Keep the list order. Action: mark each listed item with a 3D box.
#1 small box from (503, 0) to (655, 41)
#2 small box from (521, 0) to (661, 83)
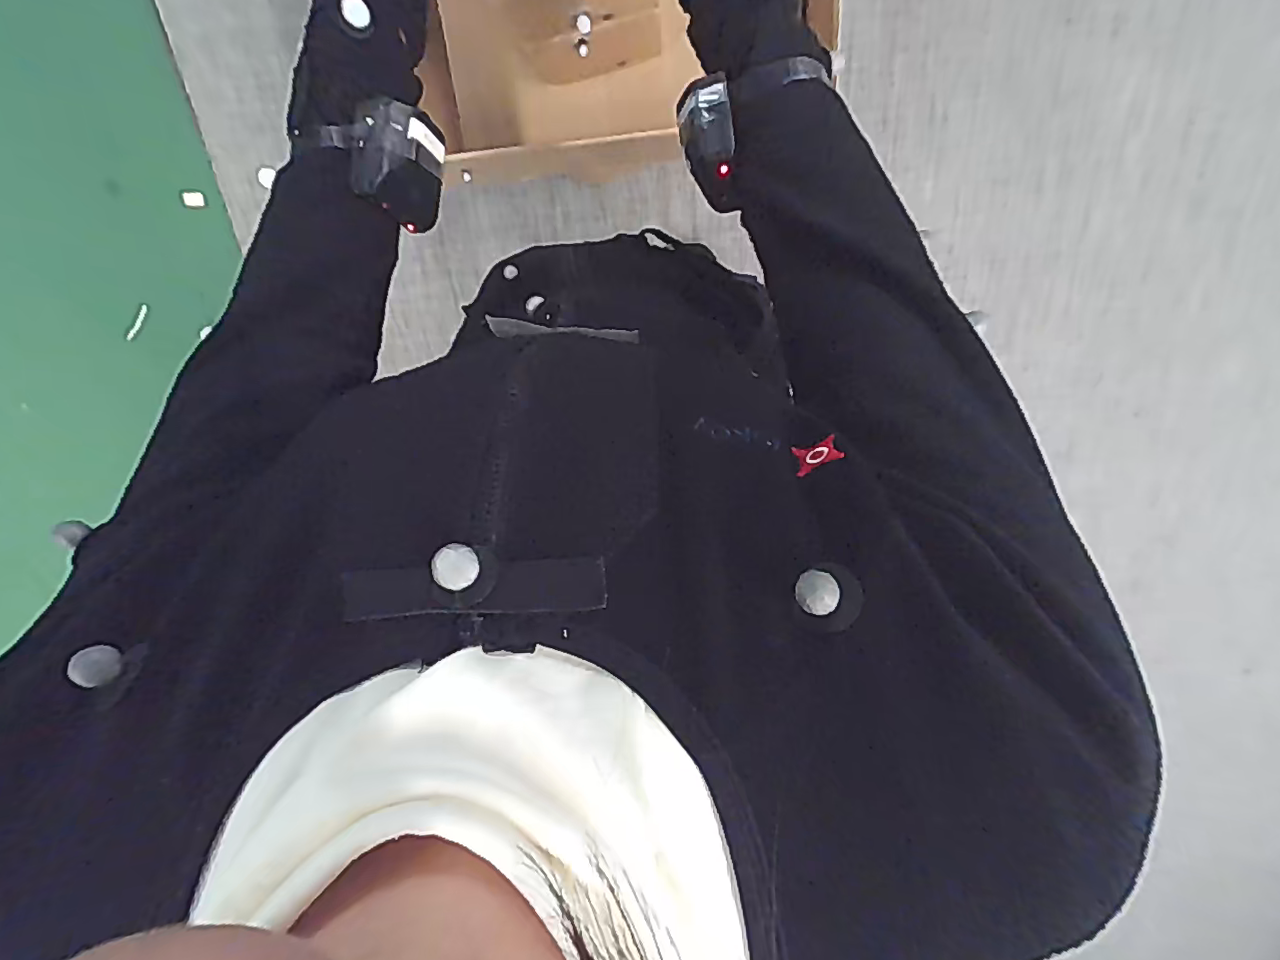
[{"bbox_3d":[-0.079,-0.577,0.526,0.168,0.176,0.179,-9,114,8],"label":"small box"},{"bbox_3d":[-0.070,-0.640,0.677,0.168,0.176,0.179,-10,112,9],"label":"small box"}]
